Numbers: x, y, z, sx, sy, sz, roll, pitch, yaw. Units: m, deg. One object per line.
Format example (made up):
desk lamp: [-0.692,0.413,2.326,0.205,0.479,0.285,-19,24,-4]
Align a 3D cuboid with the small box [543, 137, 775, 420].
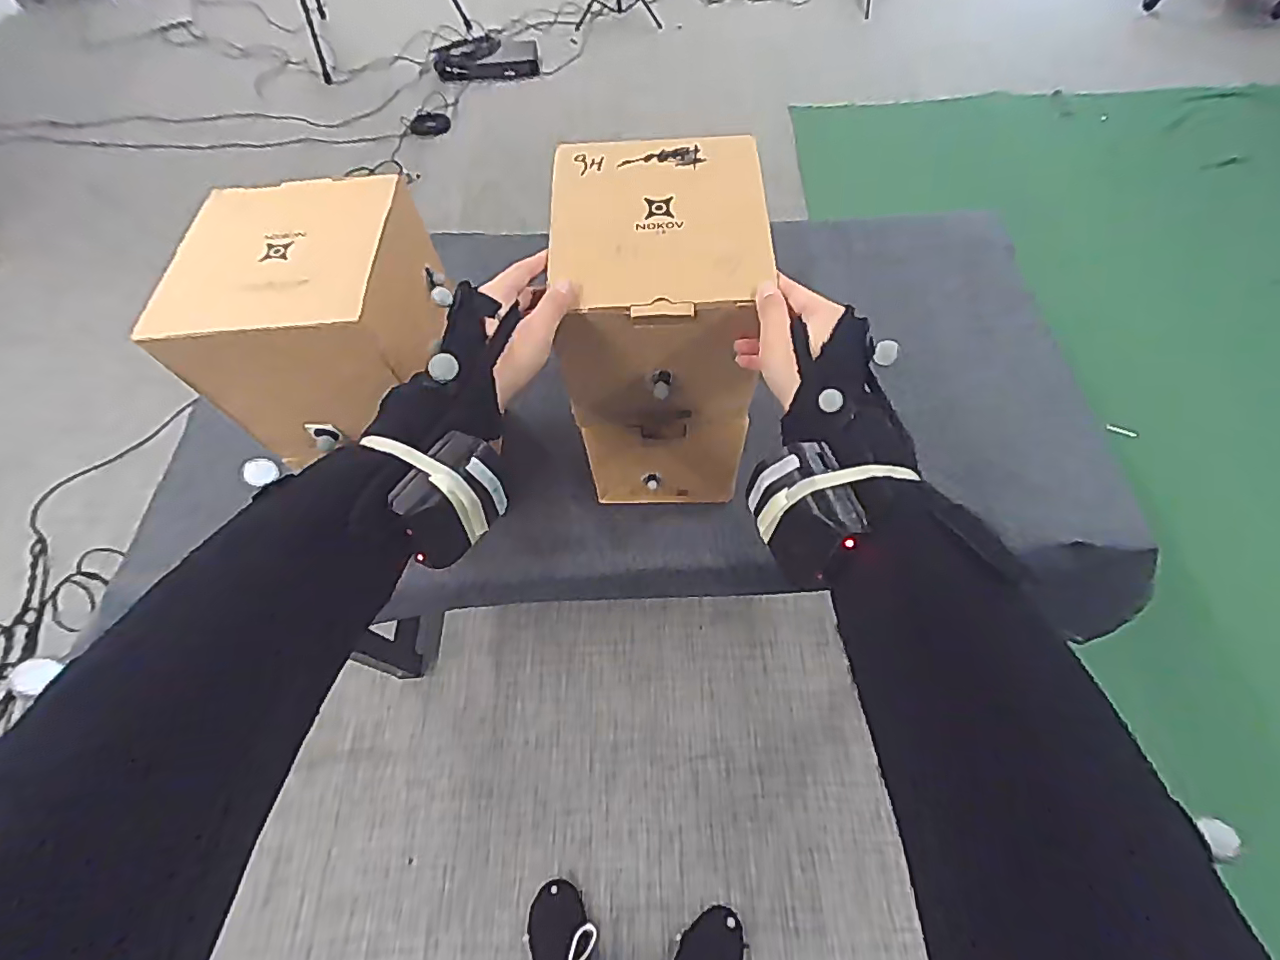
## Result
small box: [0.016,-0.162,0.479,0.168,0.176,0.179,-2,67,1]

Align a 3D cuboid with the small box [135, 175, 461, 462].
small box: [-0.272,-0.137,0.485,0.168,0.176,0.179,-6,61,1]

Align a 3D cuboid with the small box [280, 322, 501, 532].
small box: [-0.265,-0.056,0.626,0.168,0.176,0.179,-4,61,1]

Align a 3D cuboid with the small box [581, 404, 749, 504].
small box: [0.027,-0.087,0.632,0.168,0.176,0.179,-1,61,2]
